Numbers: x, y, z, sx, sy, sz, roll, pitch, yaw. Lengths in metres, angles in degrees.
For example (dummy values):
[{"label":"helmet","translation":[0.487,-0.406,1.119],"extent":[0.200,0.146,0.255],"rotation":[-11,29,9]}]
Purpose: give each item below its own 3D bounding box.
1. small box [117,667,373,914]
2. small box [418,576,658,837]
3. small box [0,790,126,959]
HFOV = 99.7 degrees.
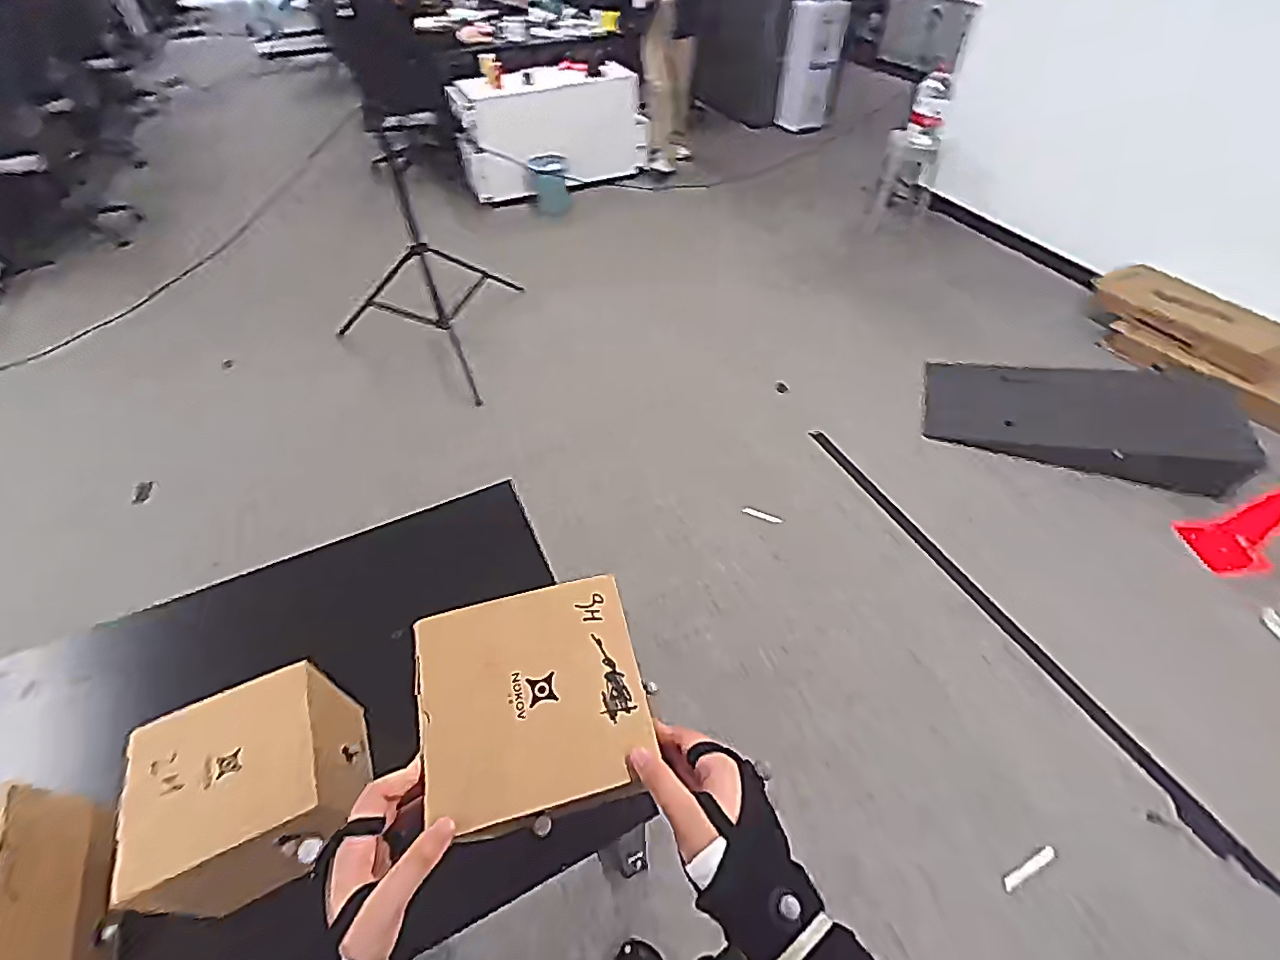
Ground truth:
[{"label":"small box","translation":[-0.422,0.349,0.611],"extent":[0.179,0.176,0.168],"rotation":[-22,51,-17]},{"label":"small box","translation":[-0.086,0.213,0.499],"extent":[0.179,0.176,0.168],"rotation":[-13,58,-8]},{"label":"small box","translation":[-0.663,0.444,0.534],"extent":[0.179,0.176,0.168],"rotation":[-21,52,-15]}]
